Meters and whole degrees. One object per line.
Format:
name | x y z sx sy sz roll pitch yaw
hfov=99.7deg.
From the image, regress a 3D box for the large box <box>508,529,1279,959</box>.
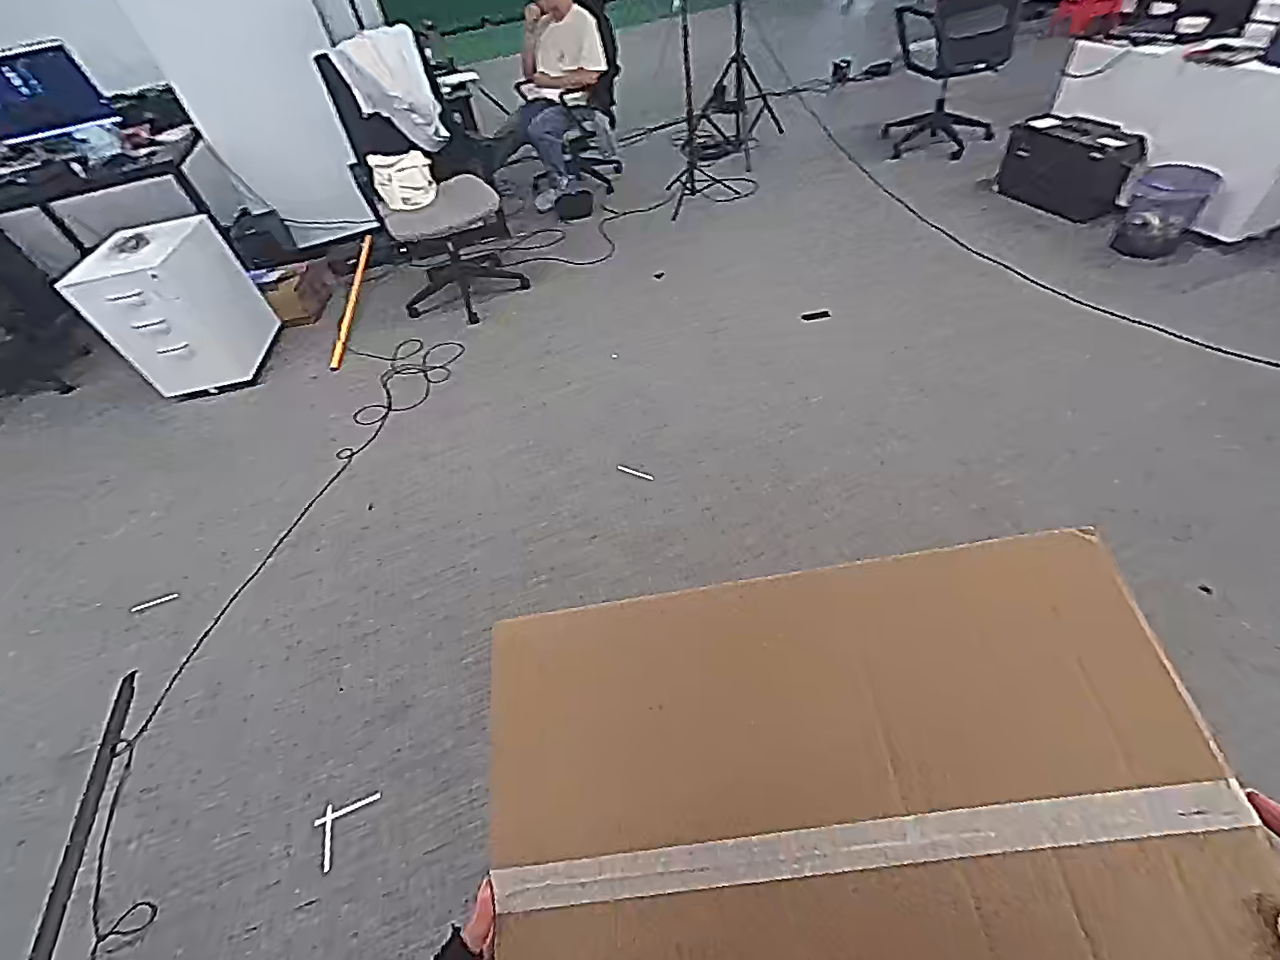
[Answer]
large box | 0.139 0.269 0.438 0.408 0.320 0.320 -10 63 5
